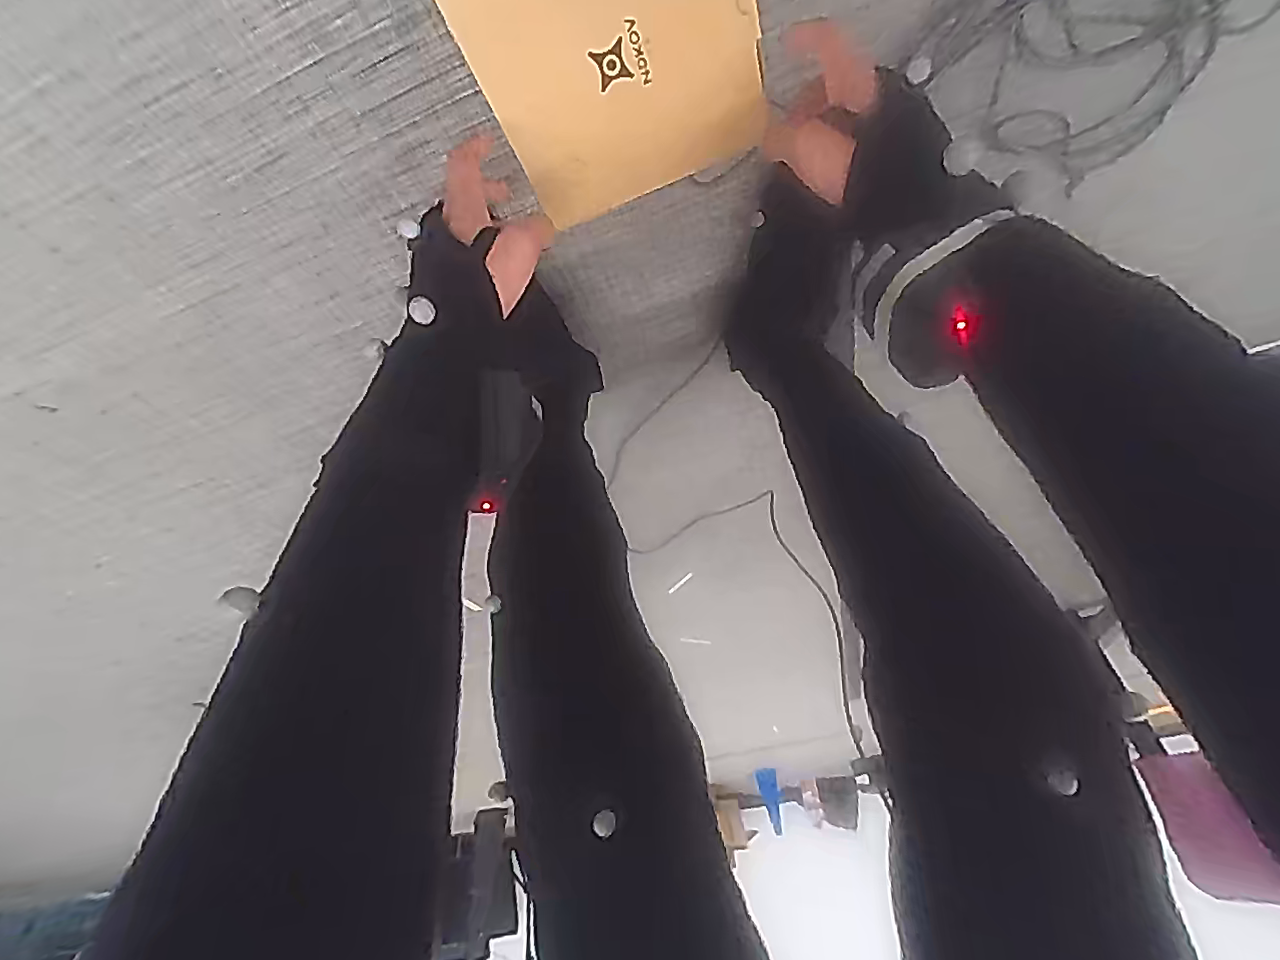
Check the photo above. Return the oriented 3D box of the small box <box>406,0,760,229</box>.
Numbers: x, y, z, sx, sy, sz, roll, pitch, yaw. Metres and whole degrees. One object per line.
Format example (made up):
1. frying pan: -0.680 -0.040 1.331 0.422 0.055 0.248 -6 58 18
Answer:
1. small box: -0.034 -0.318 0.374 0.179 0.176 0.168 -19 142 13
